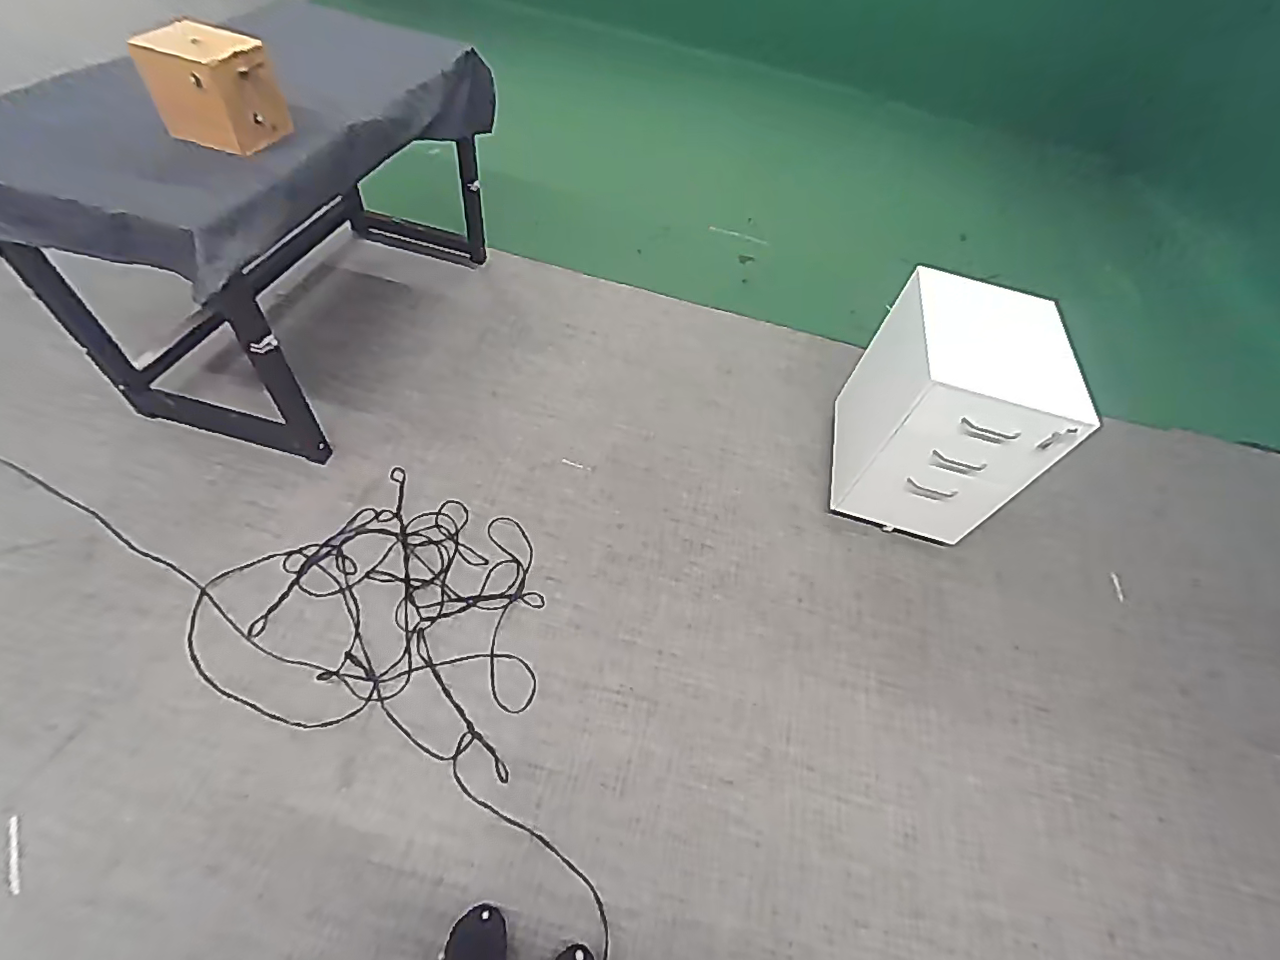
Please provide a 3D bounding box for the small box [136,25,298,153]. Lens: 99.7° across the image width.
[{"bbox_3d":[-0.873,-0.818,1.138,0.179,0.176,0.168,17,52,2],"label":"small box"}]
